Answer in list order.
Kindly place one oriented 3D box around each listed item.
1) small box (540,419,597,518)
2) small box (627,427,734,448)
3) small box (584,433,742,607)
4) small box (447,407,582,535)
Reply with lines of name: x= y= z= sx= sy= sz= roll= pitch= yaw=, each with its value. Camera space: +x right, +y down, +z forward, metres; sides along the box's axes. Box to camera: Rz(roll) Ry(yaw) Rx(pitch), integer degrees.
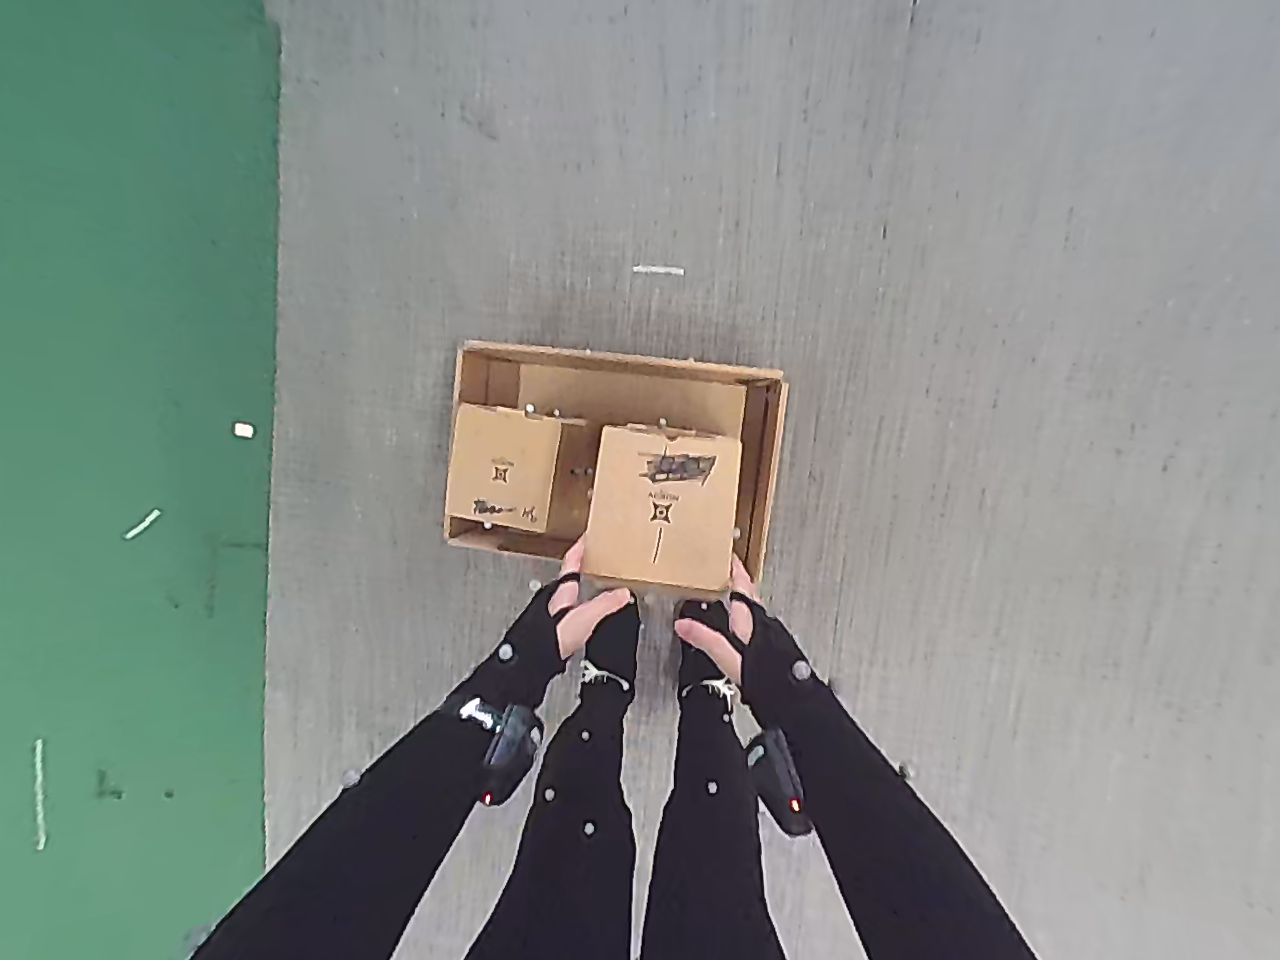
small box: x=-0.183 y=-0.031 z=1.081 sx=0.168 sy=0.176 sz=0.179 roll=5 pitch=96 yaw=4
small box: x=0.058 y=0.011 z=0.898 sx=0.168 sy=0.176 sz=0.179 roll=9 pitch=96 yaw=7
small box: x=0.030 y=0.059 z=0.696 sx=0.168 sy=0.176 sz=0.179 roll=7 pitch=72 yaw=3
small box: x=-0.202 y=-0.019 z=0.917 sx=0.168 sy=0.176 sz=0.179 roll=11 pitch=95 yaw=5
